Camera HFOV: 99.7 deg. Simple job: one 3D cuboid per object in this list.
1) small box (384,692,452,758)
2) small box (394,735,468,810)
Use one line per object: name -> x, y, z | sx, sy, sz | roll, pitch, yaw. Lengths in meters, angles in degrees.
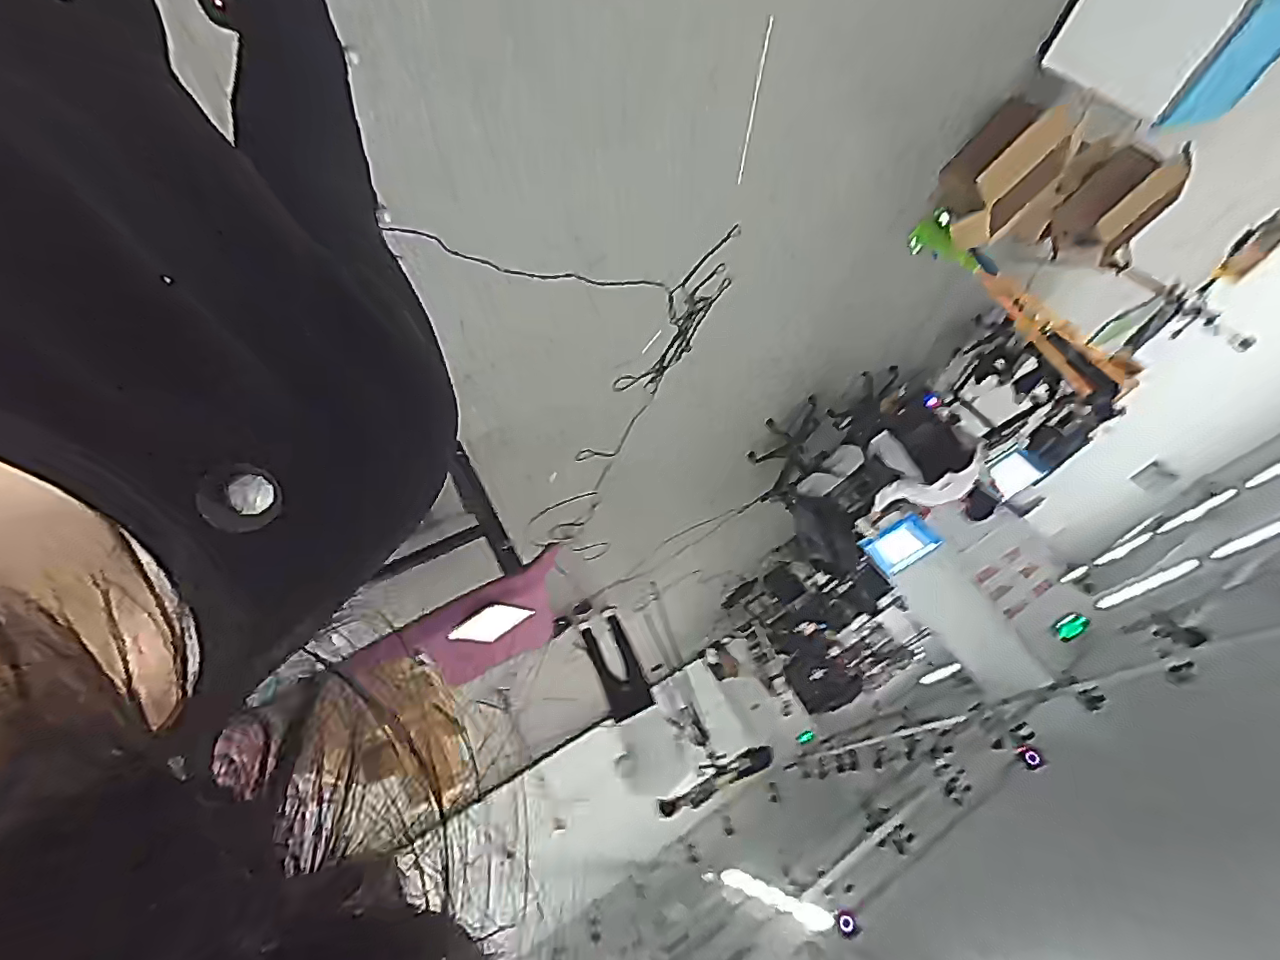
small box -> -0.807, 0.900, 1.968 | 0.168, 0.176, 0.179 | -24, 151, -20
small box -> -0.730, 1.020, 1.892 | 0.179, 0.176, 0.168 | -25, 152, -18
